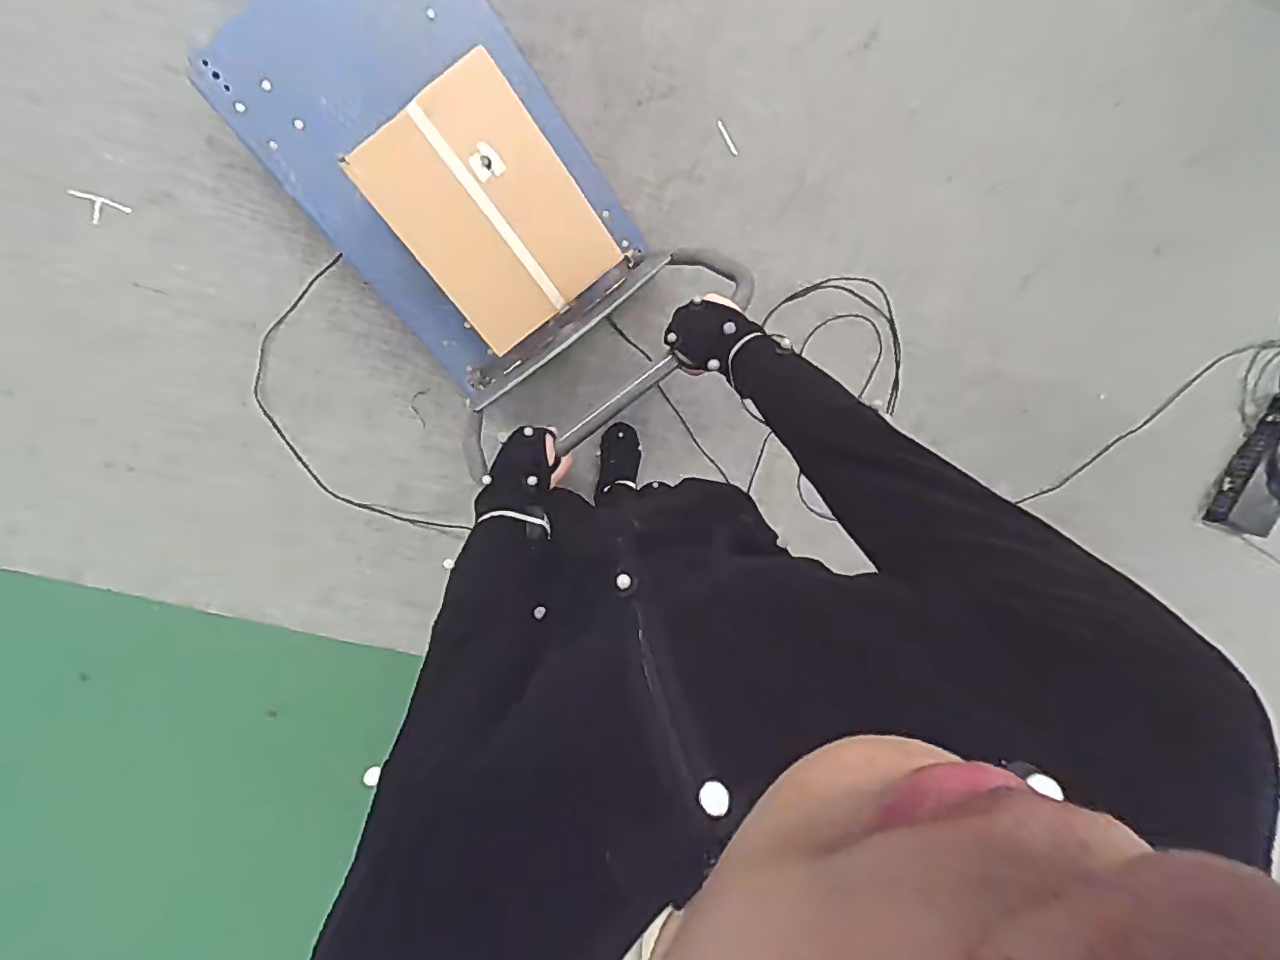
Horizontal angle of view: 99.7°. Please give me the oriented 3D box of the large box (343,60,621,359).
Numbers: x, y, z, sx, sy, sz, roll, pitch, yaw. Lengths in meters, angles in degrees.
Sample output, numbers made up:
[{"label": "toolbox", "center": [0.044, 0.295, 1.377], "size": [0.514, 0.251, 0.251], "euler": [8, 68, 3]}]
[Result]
[{"label": "large box", "center": [-0.295, -0.513, 1.115], "size": [0.320, 0.320, 0.408], "euler": [-38, 111, 2]}]
